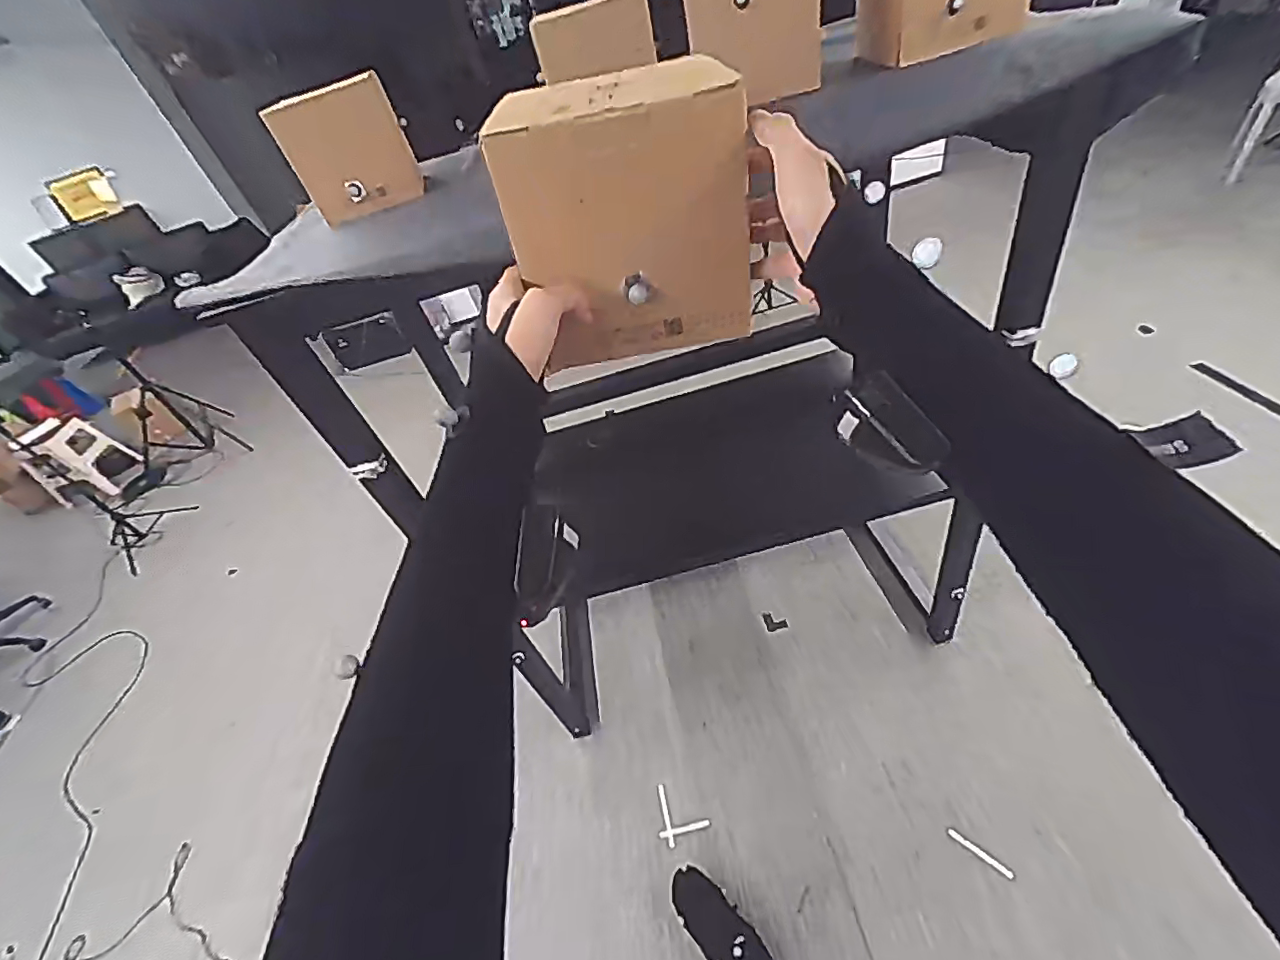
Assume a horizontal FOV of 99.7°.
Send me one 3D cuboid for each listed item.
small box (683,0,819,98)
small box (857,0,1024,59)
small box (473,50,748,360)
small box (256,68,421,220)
[{"bbox_3d":[0.161,-0.667,0.787,0.179,0.176,0.168,-5,44,14],"label":"small box"},{"bbox_3d":[0.404,-0.700,0.735,0.168,0.176,0.179,-13,42,7],"label":"small box"},{"bbox_3d":[-0.012,-0.218,0.431,0.168,0.176,0.179,-9,42,3],"label":"small box"},{"bbox_3d":[-0.481,-0.553,0.893,0.168,0.176,0.179,-23,43,-4],"label":"small box"}]
